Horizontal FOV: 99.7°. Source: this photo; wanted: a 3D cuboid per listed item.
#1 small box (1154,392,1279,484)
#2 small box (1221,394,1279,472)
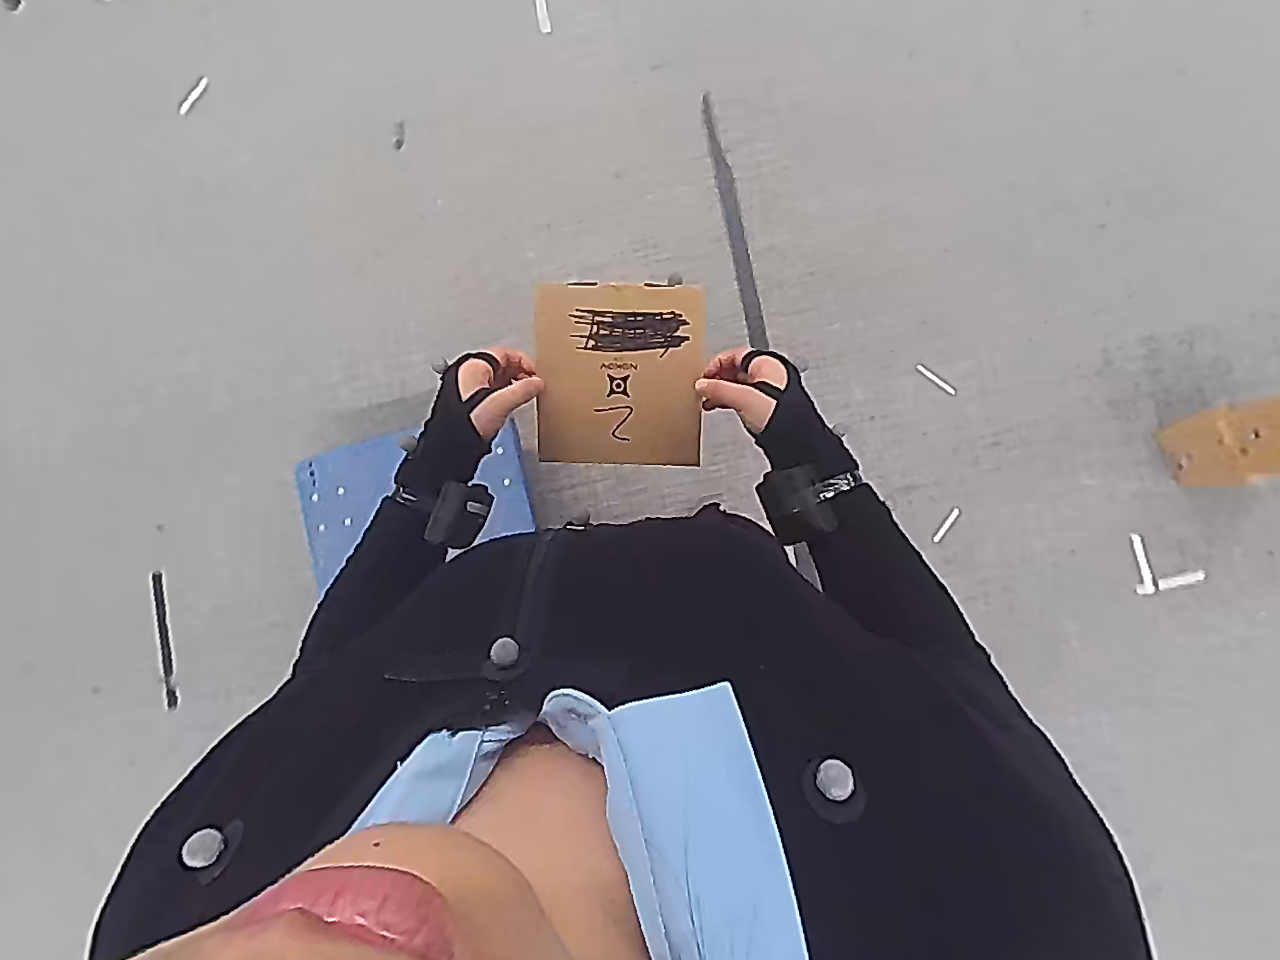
[{"bbox_3d":[1.466,-0.099,1.350,0.179,0.176,0.168,-24,86,2],"label":"small box"},{"bbox_3d":[1.462,-0.115,1.187,0.179,0.176,0.168,-12,87,3],"label":"small box"}]
